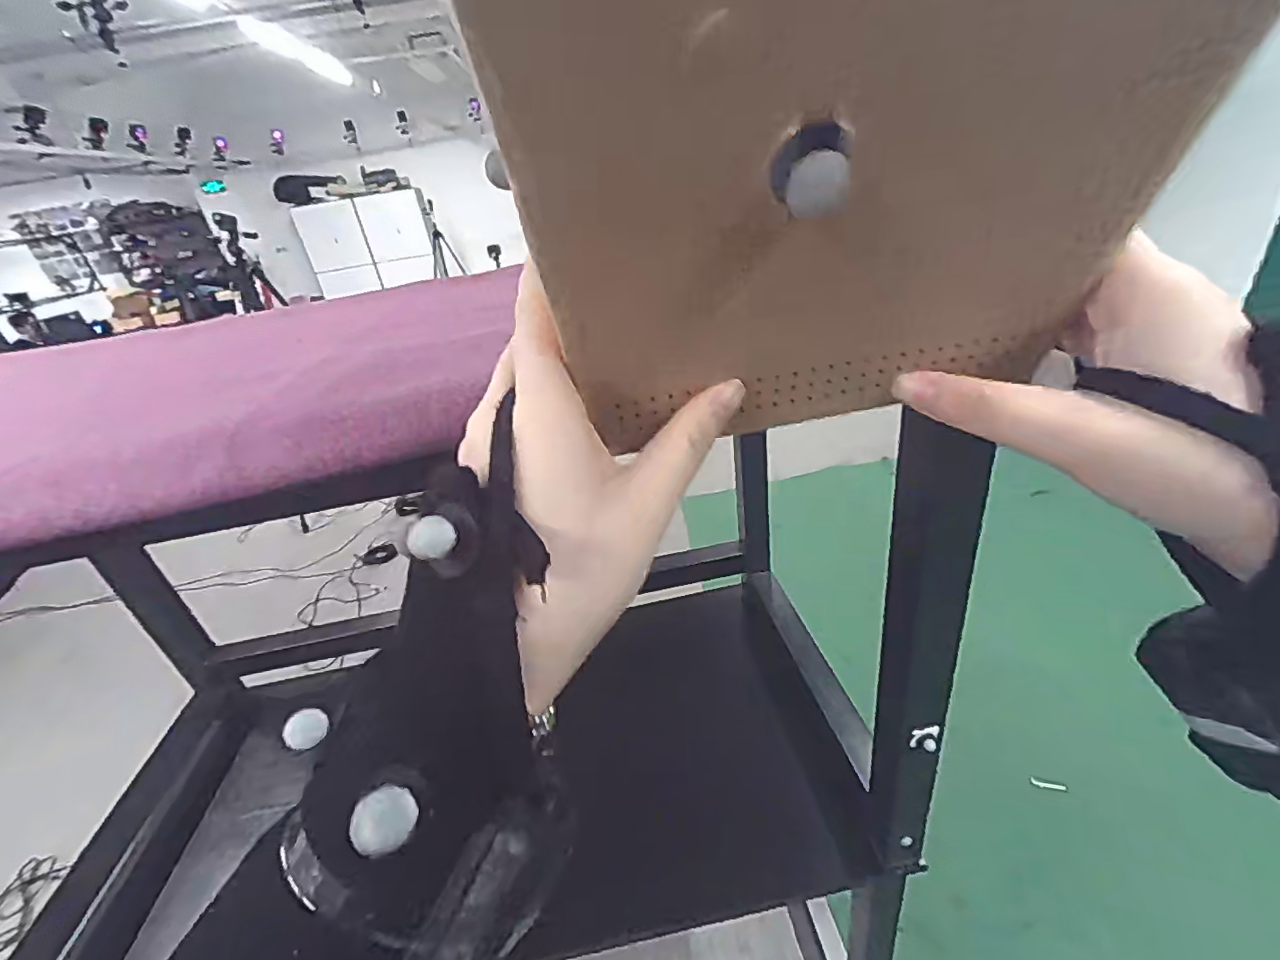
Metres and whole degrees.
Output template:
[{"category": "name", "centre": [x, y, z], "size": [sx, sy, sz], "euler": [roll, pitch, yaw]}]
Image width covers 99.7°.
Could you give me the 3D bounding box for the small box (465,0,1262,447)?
[{"category": "small box", "centre": [0.051, -0.130, 0.187], "size": [0.179, 0.176, 0.168], "euler": [-10, 57, 2]}]
